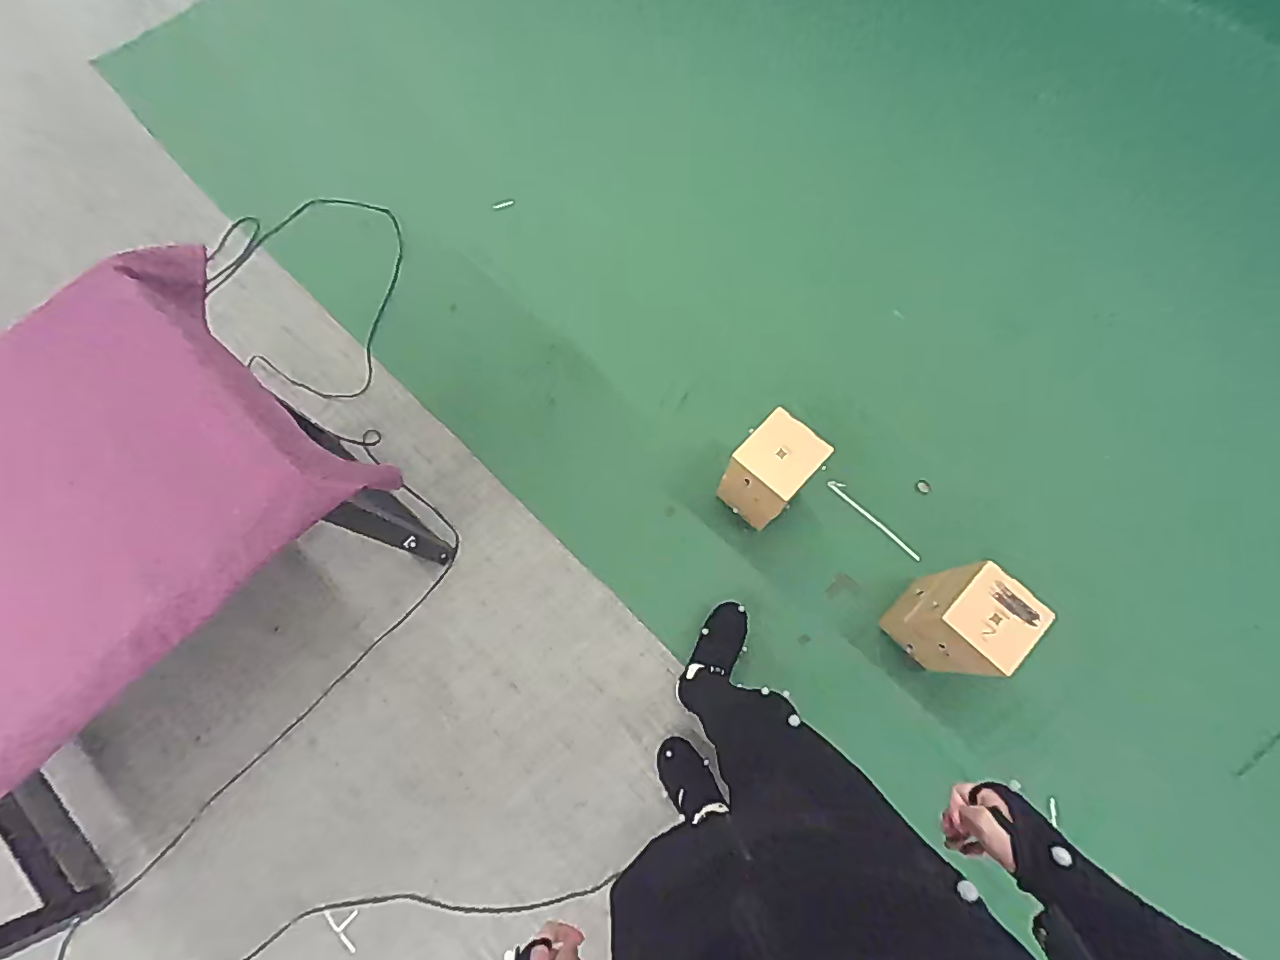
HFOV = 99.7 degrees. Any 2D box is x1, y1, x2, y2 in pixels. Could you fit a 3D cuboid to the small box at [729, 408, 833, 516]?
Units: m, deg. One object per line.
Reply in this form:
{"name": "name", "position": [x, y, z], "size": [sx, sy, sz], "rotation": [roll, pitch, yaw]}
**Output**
{"name": "small box", "position": [0.334, -0.036, 1.321], "size": [0.168, 0.176, 0.179], "rotation": [42, 77, 14]}

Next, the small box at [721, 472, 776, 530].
{"name": "small box", "position": [0.337, 0.012, 1.476], "size": [0.168, 0.176, 0.179], "rotation": [43, 79, 14]}

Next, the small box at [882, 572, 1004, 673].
{"name": "small box", "position": [0.746, 0.356, 1.352], "size": [0.179, 0.176, 0.168], "rotation": [-43, 76, -11]}
